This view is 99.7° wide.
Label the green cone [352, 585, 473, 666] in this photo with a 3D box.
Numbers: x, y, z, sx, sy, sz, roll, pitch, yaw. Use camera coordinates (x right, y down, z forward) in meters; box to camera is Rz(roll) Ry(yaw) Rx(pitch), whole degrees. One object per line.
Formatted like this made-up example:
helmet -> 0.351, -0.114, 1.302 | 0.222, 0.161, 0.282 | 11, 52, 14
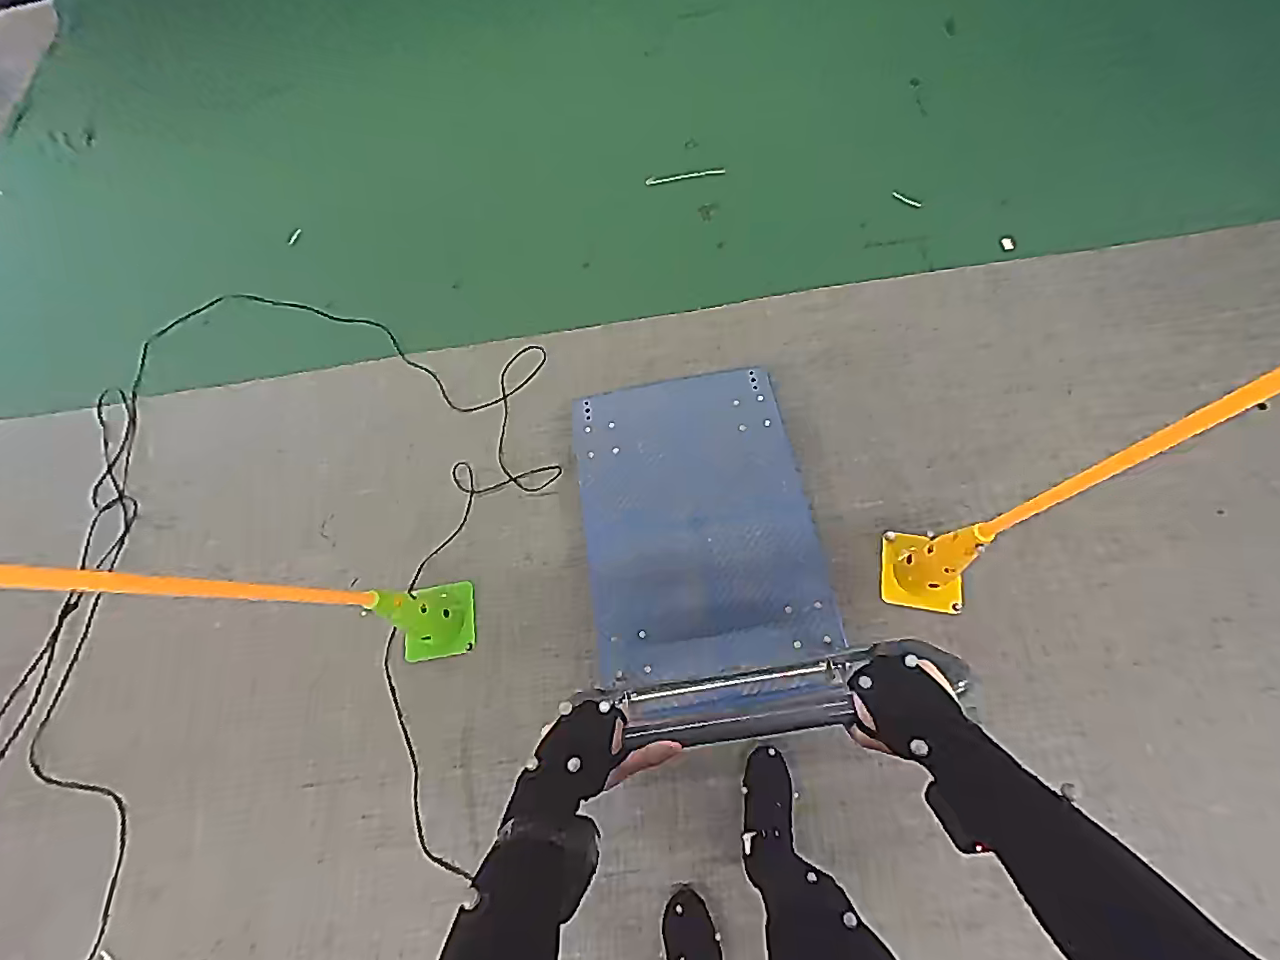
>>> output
green cone -> -0.590, 0.338, 1.358 | 0.202, 0.368, 0.200 | -12, 66, 3
